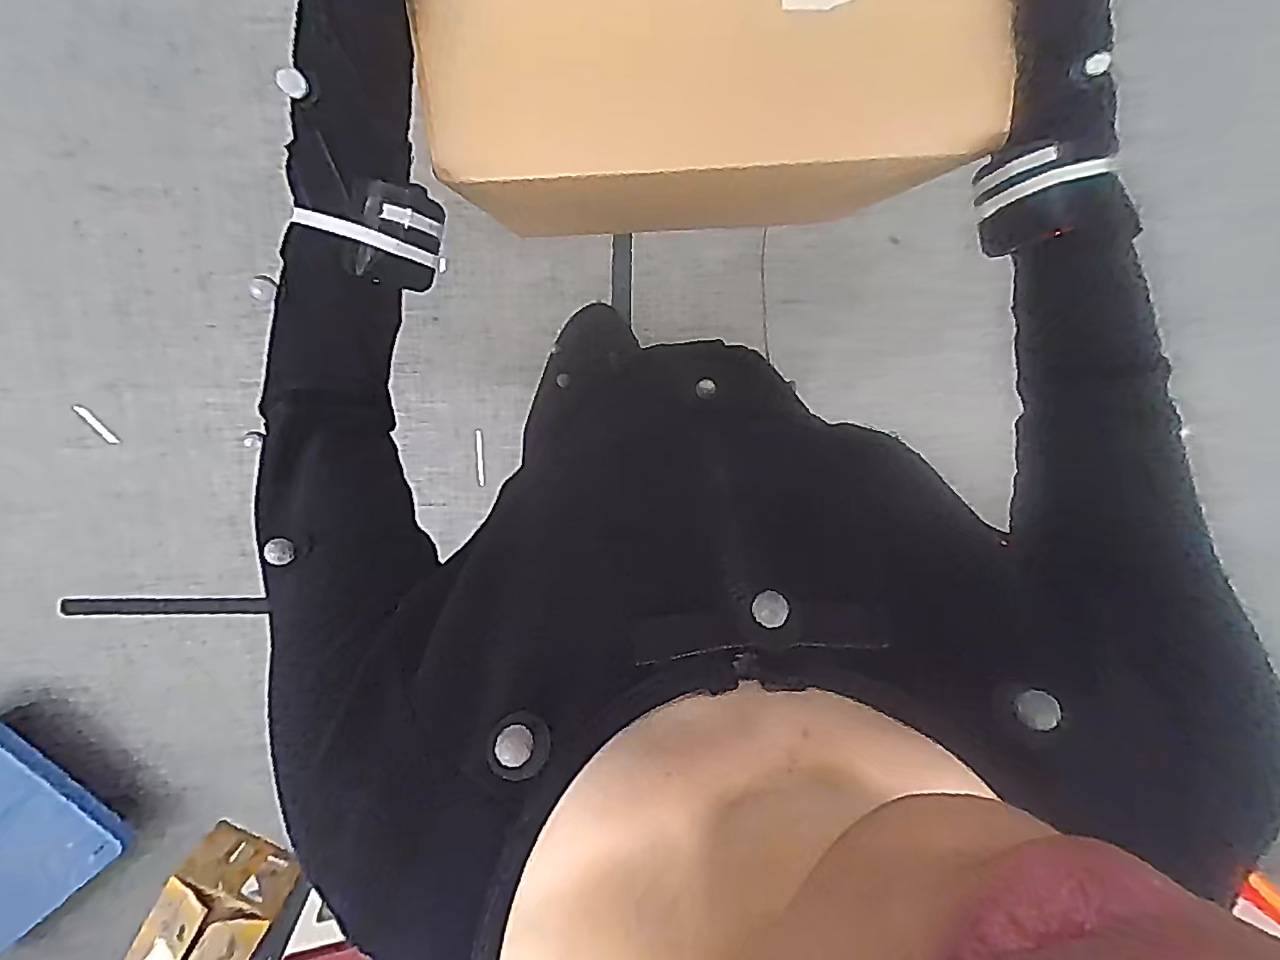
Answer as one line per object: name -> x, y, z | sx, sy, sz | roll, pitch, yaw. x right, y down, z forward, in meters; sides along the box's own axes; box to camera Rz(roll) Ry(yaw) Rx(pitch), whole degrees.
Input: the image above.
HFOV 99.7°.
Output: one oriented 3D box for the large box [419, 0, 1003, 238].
large box -> 0.040, -0.420, 0.491 | 0.408, 0.320, 0.320 | -4, 107, -1
